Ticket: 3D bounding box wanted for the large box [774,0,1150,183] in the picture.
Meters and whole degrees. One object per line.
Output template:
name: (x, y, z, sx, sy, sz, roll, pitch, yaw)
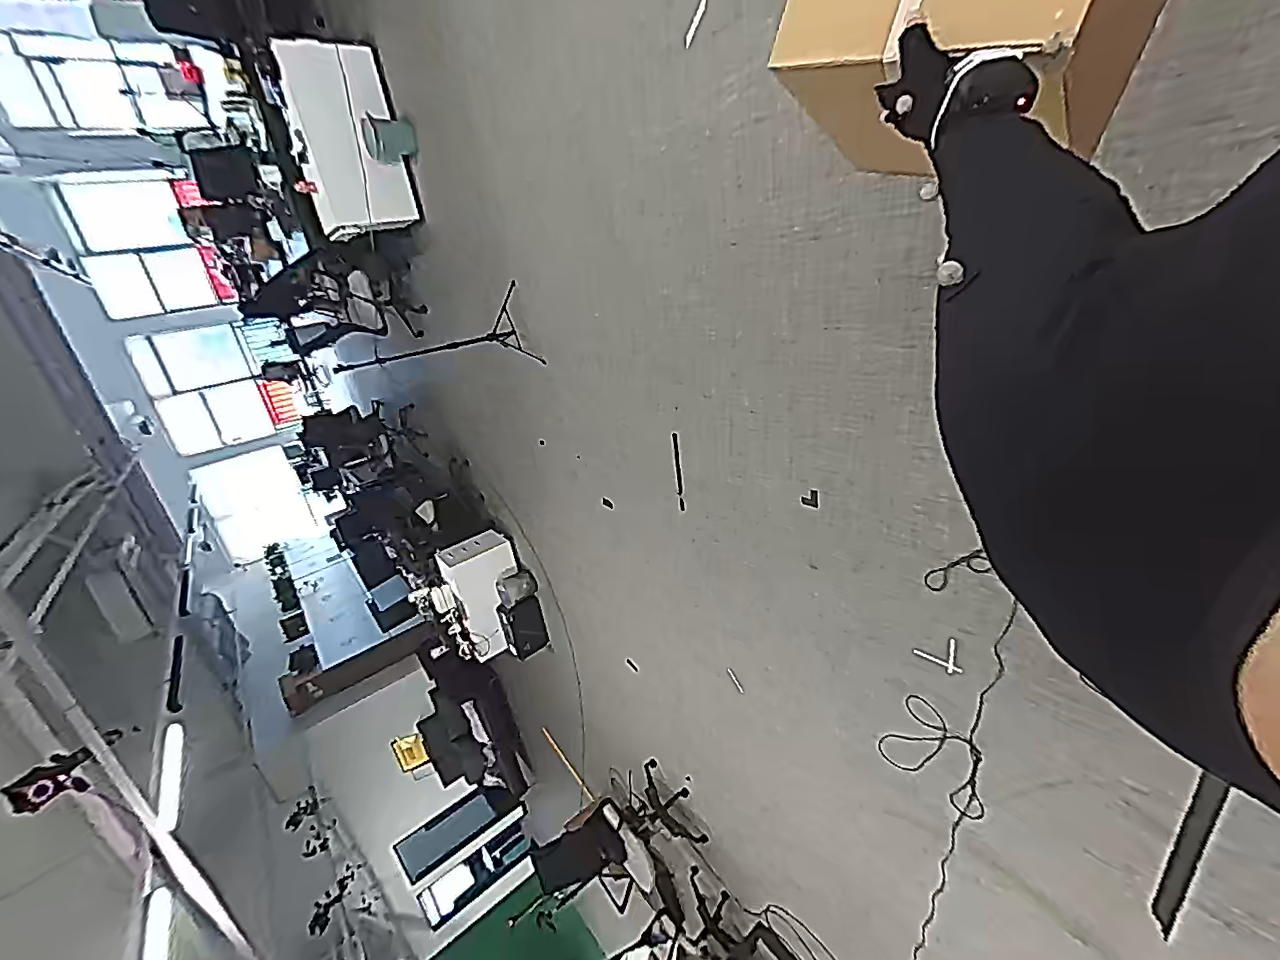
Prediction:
large box: (0.419, -0.629, 0.638, 0.320, 0.320, 0.408, 29, 110, 37)
